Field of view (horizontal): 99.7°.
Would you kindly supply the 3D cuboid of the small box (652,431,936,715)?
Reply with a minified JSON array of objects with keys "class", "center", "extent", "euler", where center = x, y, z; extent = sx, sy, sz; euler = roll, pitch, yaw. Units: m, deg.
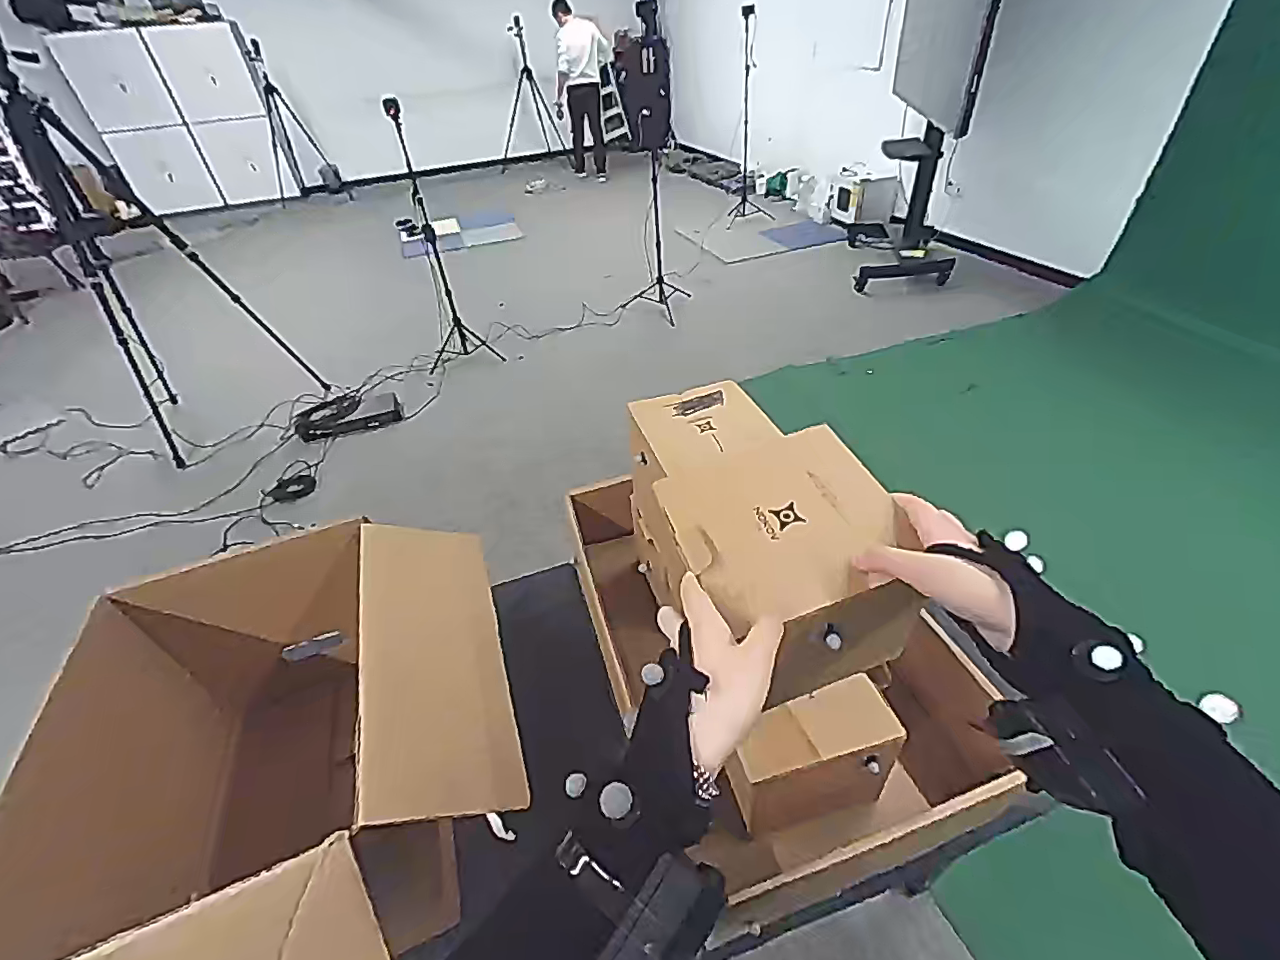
[{"class":"small box","center":[0.127,0.089,0.501],"extent":[0.179,0.176,0.168],"euler":[-19,49,-8]}]

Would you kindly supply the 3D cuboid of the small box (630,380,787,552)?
[{"class":"small box","center":[0.089,-0.014,0.766],"extent":[0.168,0.176,0.179],"euler":[-15,44,-11]}]
